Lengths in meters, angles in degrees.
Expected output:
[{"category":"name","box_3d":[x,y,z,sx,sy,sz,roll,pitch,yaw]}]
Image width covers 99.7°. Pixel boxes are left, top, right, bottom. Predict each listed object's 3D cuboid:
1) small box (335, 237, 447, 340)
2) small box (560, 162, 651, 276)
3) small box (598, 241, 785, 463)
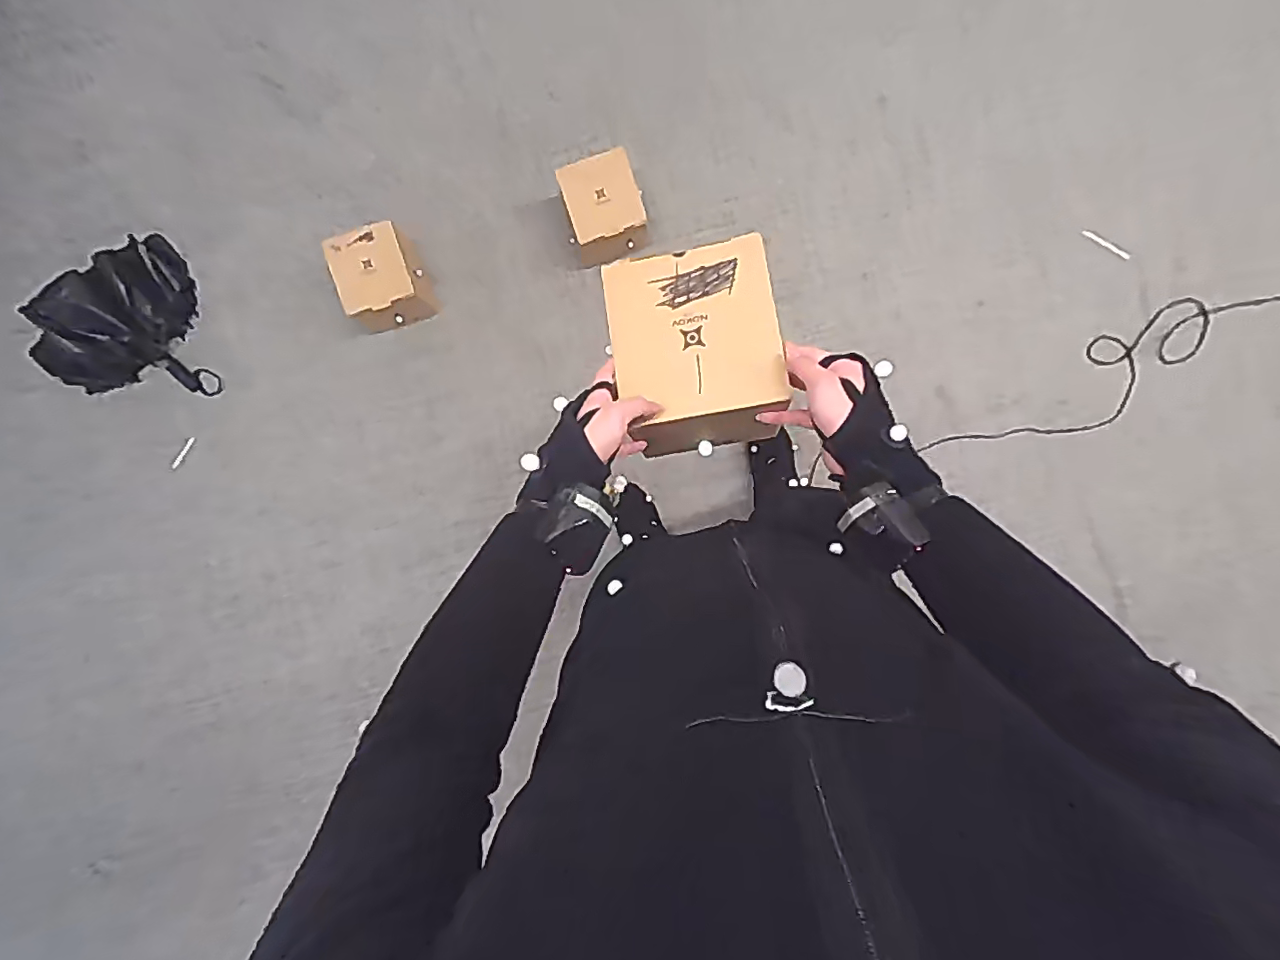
[{"category":"small box","box_3d":[-0.594,-0.453,1.315,0.168,0.176,0.179,-18,92,1]},{"category":"small box","box_3d":[-0.076,-0.614,1.303,0.168,0.176,0.179,-20,90,0]},{"category":"small box","box_3d":[0.059,-0.130,0.610,0.168,0.176,0.179,-10,80,9]}]
